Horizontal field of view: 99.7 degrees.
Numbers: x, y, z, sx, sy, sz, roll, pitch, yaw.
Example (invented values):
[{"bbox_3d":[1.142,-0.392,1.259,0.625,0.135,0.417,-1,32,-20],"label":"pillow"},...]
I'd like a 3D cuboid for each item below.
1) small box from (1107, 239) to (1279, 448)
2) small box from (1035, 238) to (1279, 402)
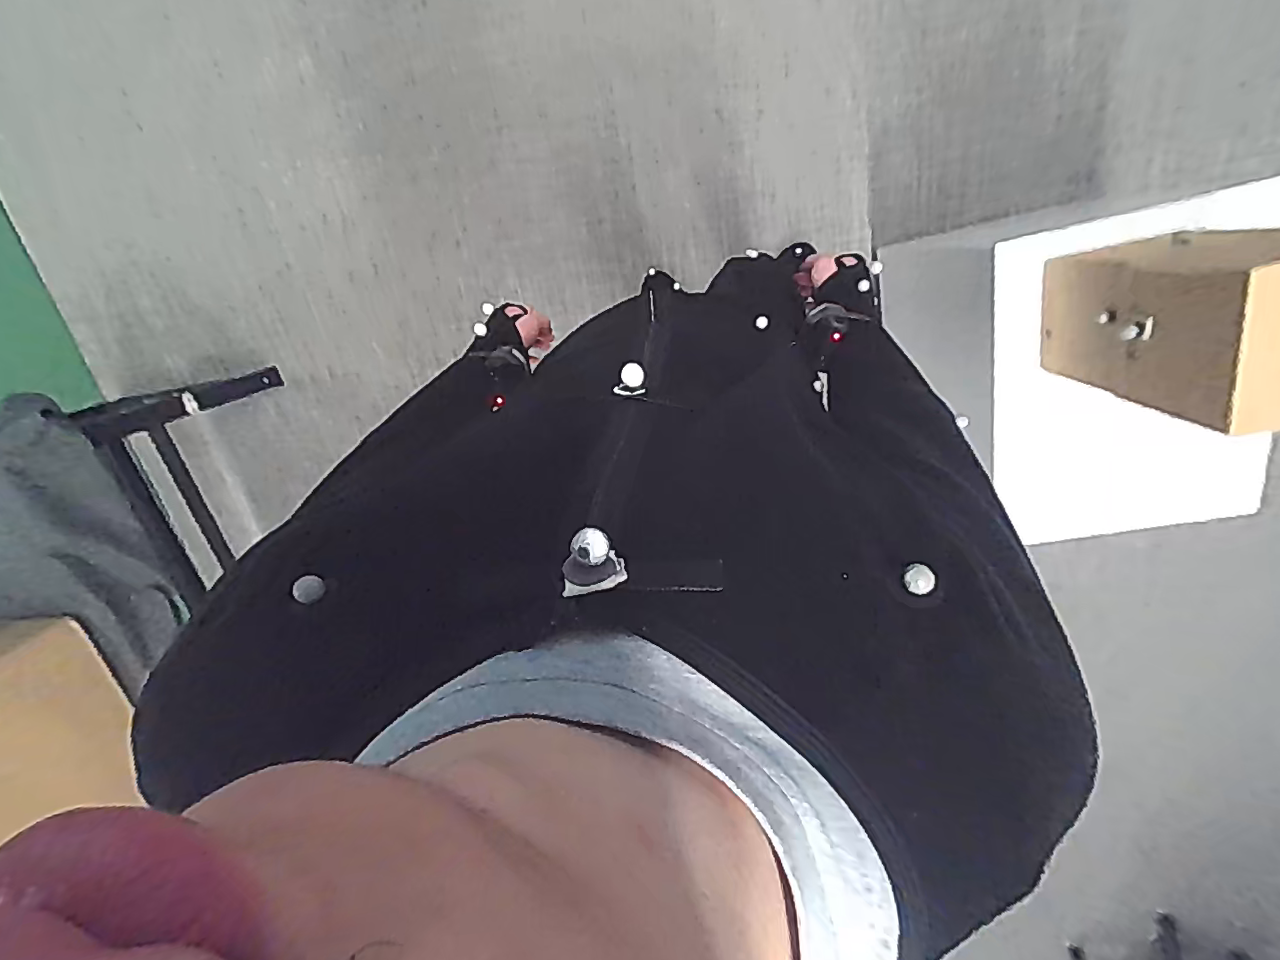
[{"bbox_3d":[0.649,-0.151,0.568,0.179,0.176,0.168,-11,110,12],"label":"small box"},{"bbox_3d":[0.671,-0.217,0.715,0.179,0.176,0.168,-10,112,9],"label":"small box"}]
